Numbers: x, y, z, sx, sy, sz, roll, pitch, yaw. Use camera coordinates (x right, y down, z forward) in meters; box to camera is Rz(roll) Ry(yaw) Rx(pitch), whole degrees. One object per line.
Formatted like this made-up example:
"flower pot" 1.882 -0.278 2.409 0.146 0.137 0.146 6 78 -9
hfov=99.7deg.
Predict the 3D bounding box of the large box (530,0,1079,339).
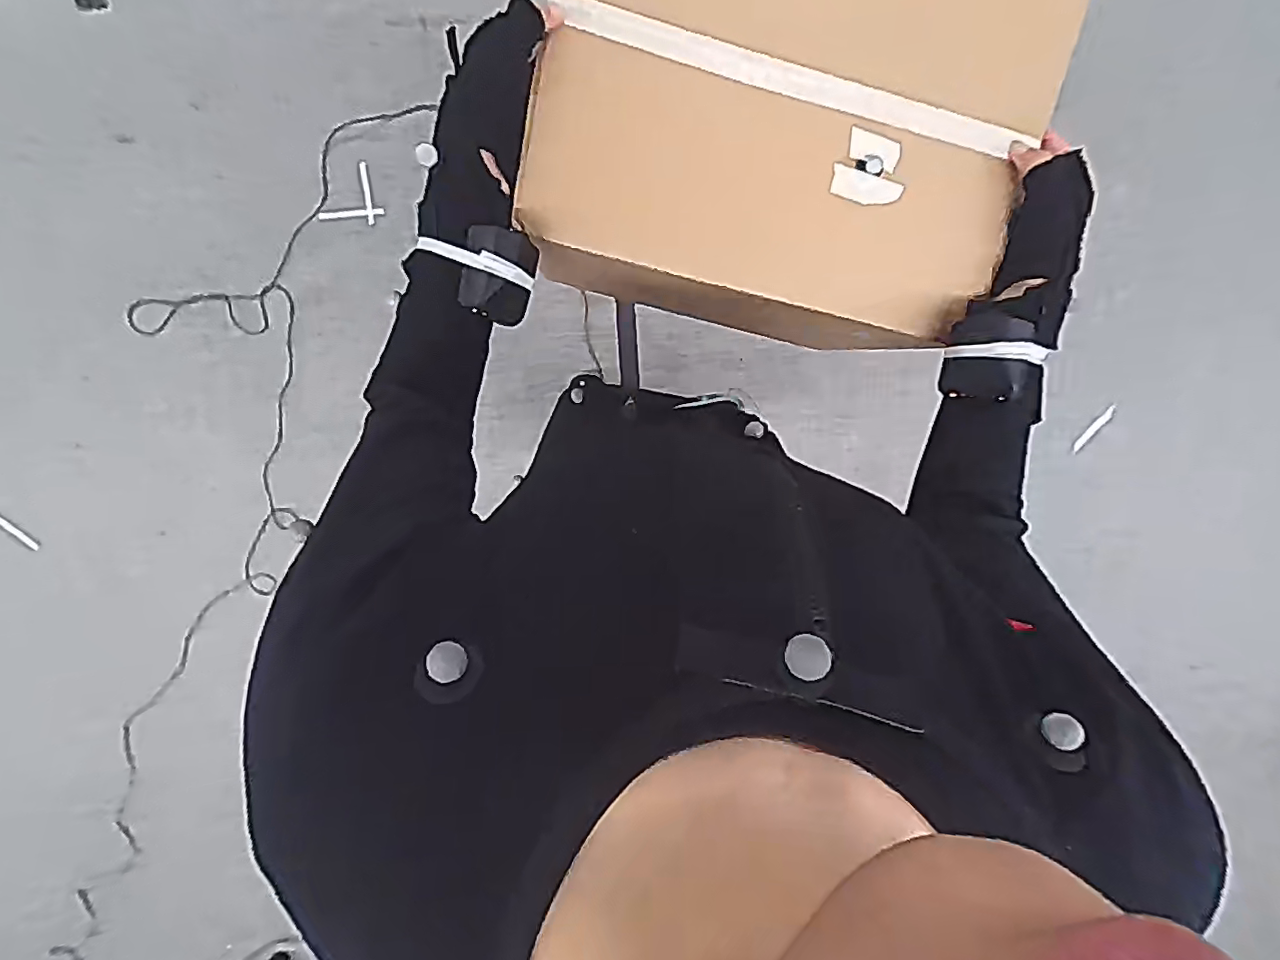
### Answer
"large box" 0.118 -0.349 0.572 0.408 0.320 0.320 12 103 -9
